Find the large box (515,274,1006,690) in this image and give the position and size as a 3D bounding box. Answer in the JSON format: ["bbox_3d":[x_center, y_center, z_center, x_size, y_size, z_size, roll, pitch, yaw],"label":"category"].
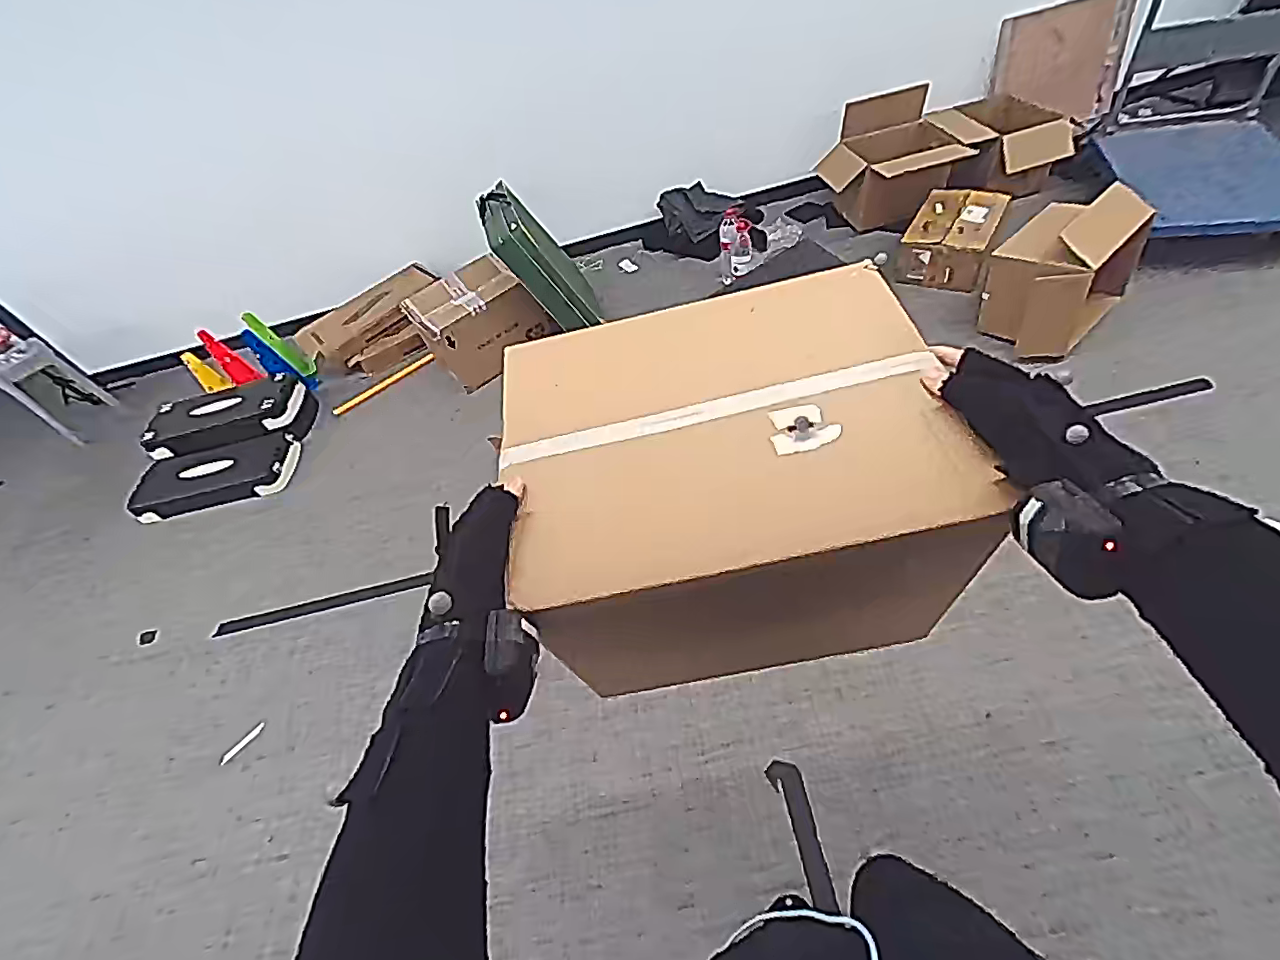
[{"bbox_3d":[0.097,0.021,0.638,0.408,0.320,0.320,-12,56,3],"label":"large box"}]
